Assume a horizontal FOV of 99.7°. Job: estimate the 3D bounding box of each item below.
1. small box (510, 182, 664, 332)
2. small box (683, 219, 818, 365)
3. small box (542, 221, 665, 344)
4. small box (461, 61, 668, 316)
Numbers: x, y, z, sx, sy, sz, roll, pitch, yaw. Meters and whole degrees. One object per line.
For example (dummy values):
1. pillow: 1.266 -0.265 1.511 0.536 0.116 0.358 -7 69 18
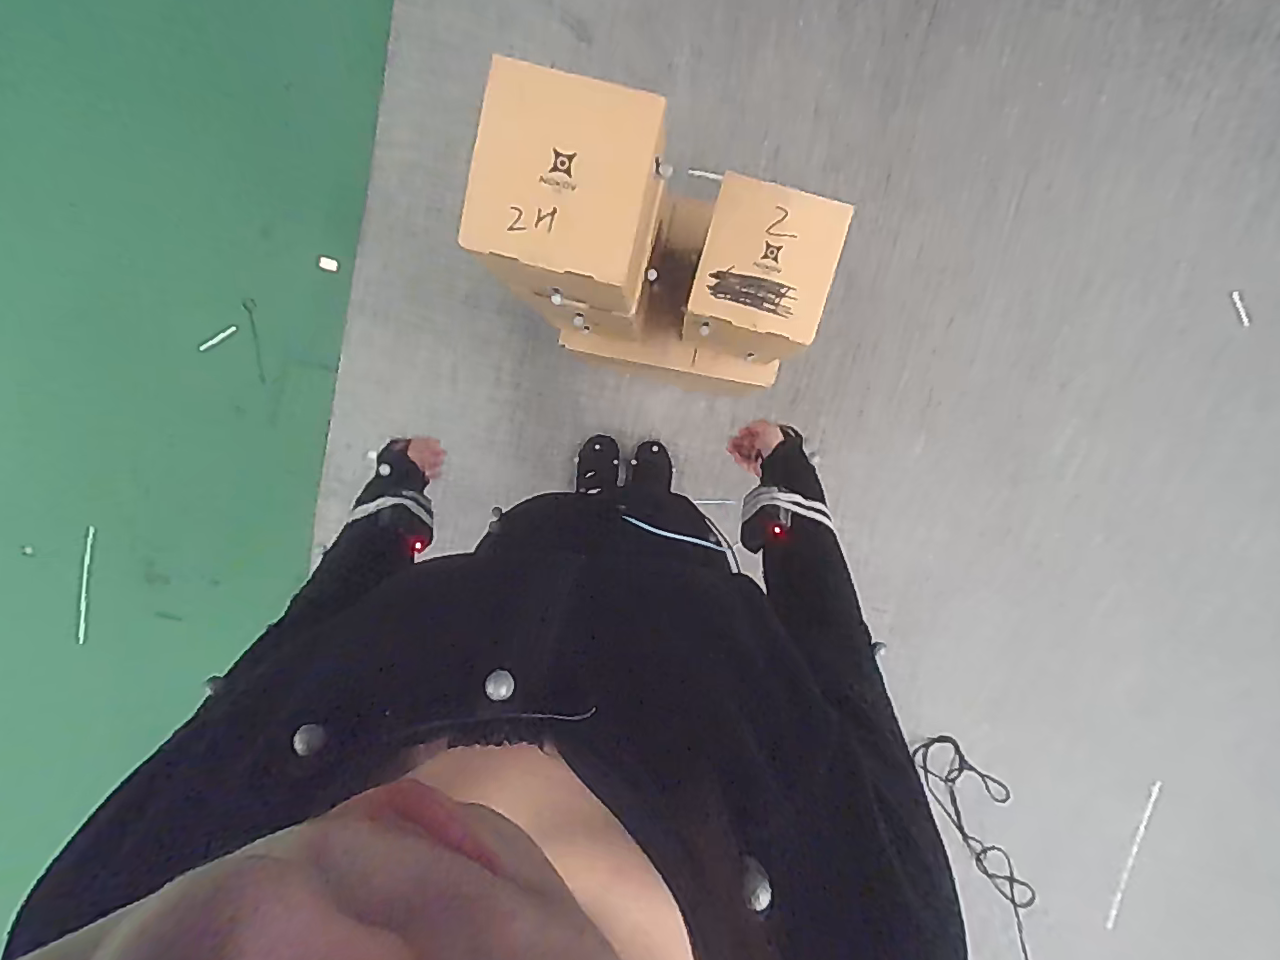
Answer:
1. small box: -0.066 -0.314 0.752 0.168 0.176 0.179 13 99 -1
2. small box: 0.175 -0.302 0.909 0.168 0.176 0.179 16 97 1
3. small box: -0.060 -0.341 0.914 0.168 0.176 0.179 12 99 -1
4. small box: -0.073 -0.294 0.588 0.168 0.176 0.179 14 98 0
